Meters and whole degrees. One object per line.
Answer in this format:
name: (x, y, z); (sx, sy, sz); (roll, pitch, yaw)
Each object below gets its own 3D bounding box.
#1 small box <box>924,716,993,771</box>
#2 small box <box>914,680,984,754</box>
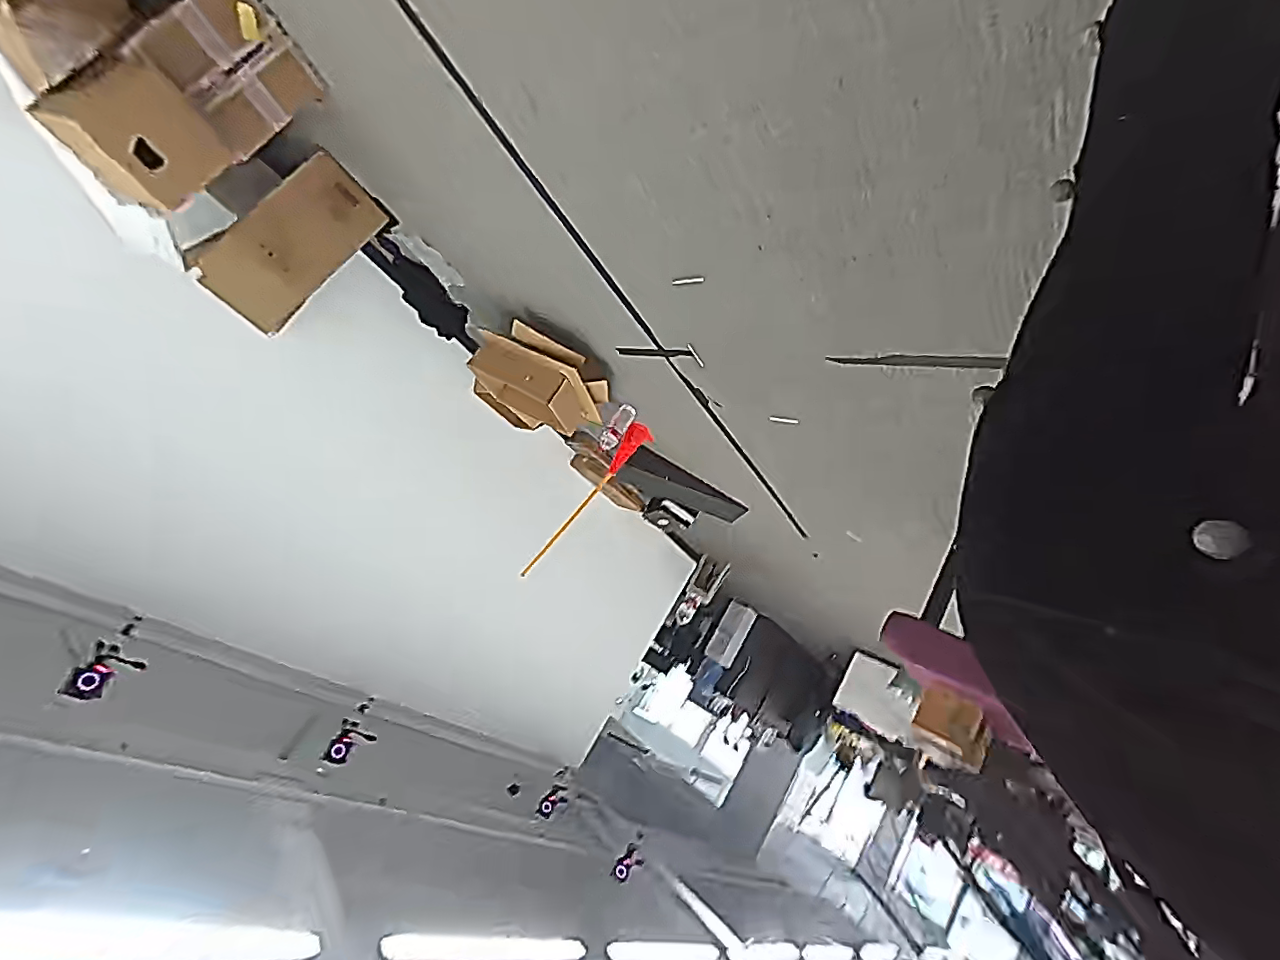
small box: (1.198, 0.946, 2.020); (0.179, 0.176, 0.168); (17, 158, 46)
small box: (1.078, 0.820, 1.880); (0.168, 0.176, 0.179); (17, 160, 42)
